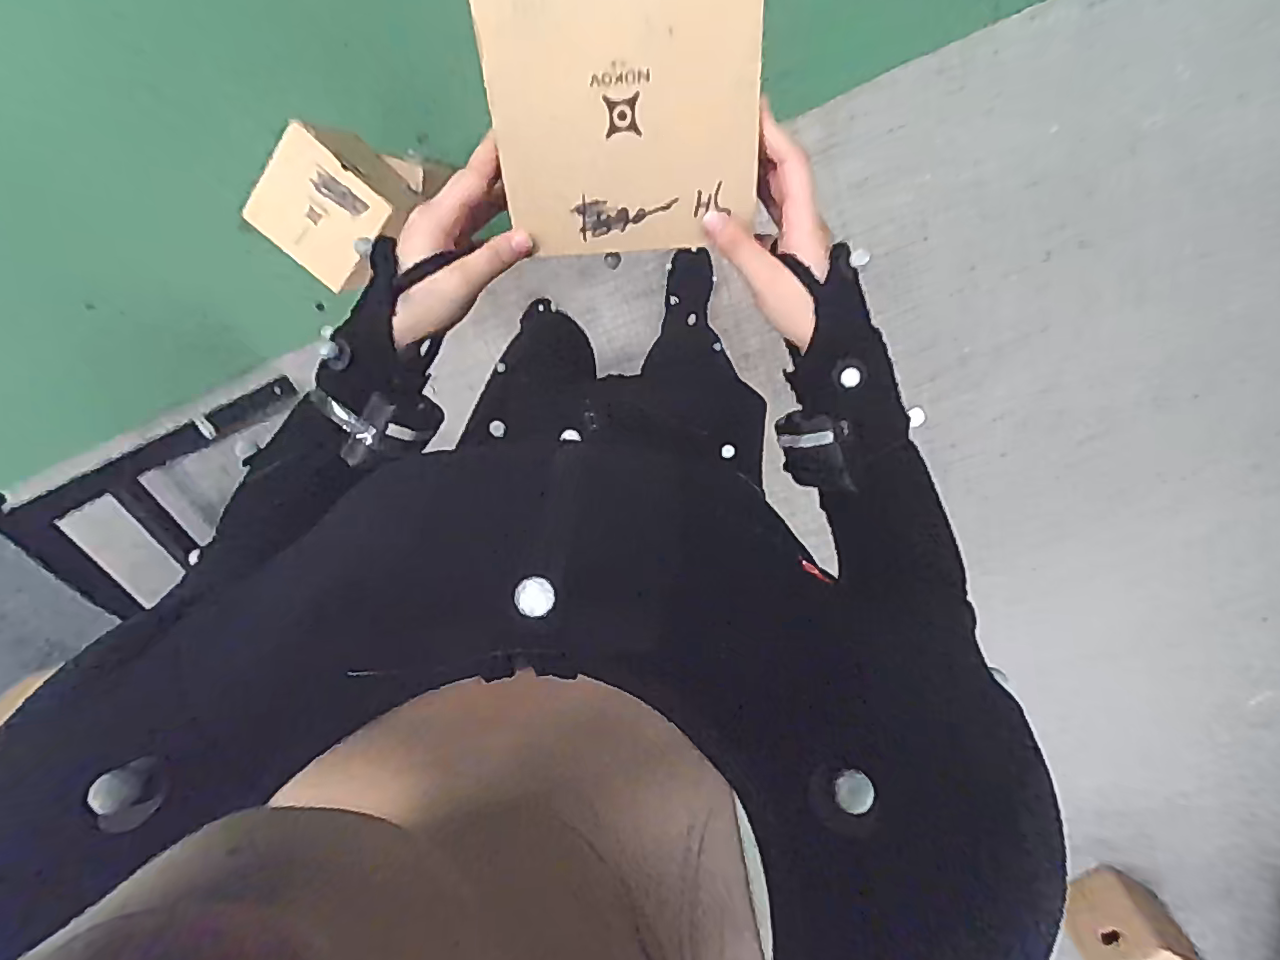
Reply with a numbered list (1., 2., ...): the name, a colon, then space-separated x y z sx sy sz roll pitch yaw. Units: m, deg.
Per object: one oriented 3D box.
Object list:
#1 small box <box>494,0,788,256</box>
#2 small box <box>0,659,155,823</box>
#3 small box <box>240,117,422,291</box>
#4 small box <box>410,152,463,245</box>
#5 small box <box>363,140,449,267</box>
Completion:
1. small box: 0.004 -0.275 0.387 0.168 0.176 0.179 -2 125 4
2. small box: -0.967 0.422 0.891 0.179 0.176 0.168 -19 116 13
3. small box: -0.482 -0.442 0.874 0.168 0.176 0.179 41 112 -20
4. small box: -0.499 -0.594 1.164 0.168 0.176 0.179 -5 118 3
5. small box: -0.471 -0.522 1.017 0.168 0.176 0.179 13 117 -7
